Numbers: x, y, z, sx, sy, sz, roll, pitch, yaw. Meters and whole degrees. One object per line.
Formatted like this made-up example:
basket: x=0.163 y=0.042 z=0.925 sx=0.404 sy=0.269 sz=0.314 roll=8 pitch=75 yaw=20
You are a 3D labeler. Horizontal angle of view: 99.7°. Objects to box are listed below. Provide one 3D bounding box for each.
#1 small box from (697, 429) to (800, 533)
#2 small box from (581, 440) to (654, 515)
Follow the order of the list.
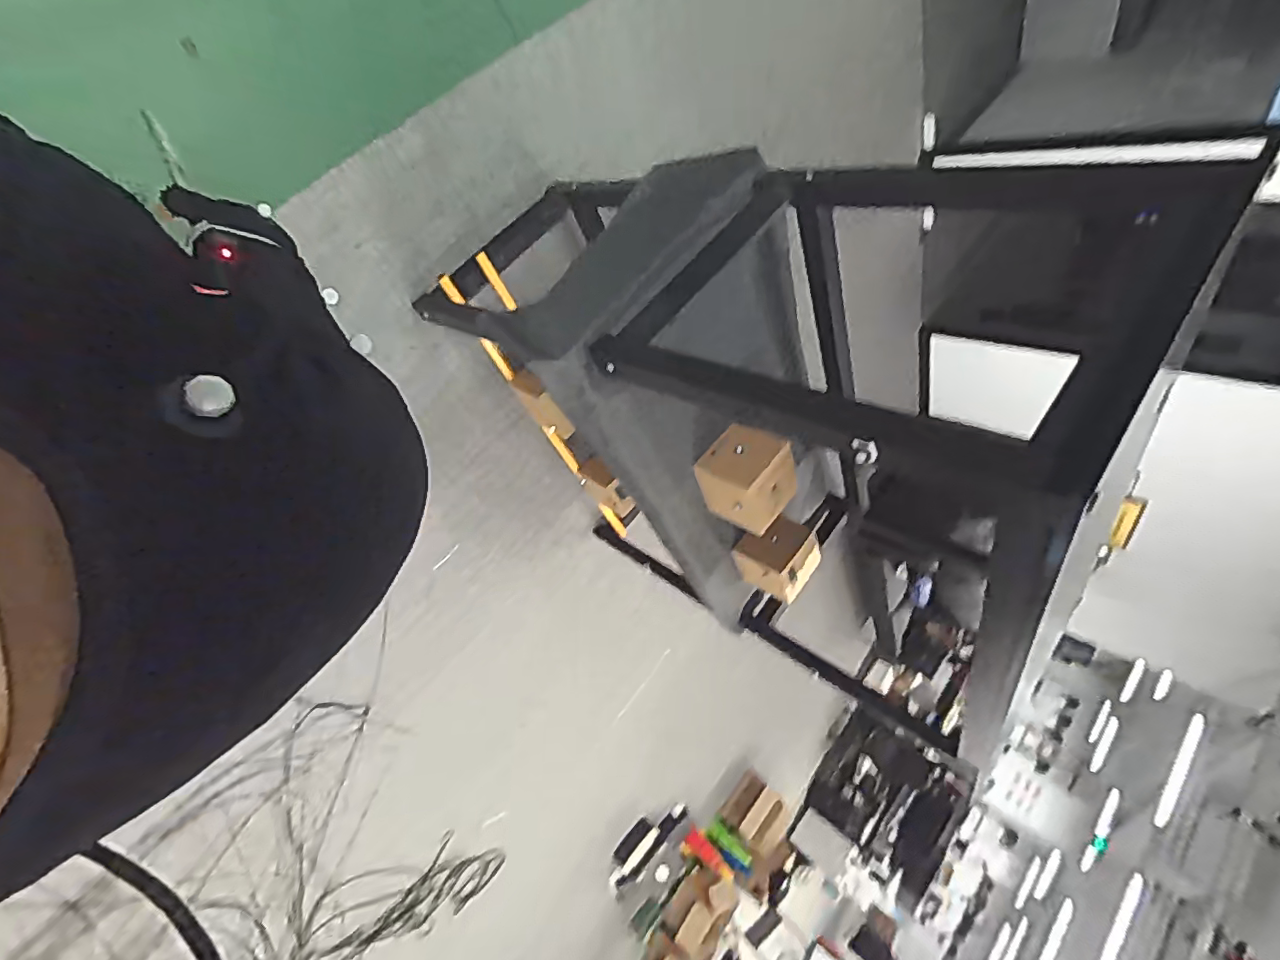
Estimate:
small box: x=0.263 y=-0.008 z=1.322 sx=0.168 sy=0.176 sz=0.179 roll=-46 pitch=136 yaw=-19
small box: x=-0.086 y=-0.012 z=1.914 sx=0.179 sy=0.176 sz=0.168 roll=-46 pitch=137 yaw=-19
